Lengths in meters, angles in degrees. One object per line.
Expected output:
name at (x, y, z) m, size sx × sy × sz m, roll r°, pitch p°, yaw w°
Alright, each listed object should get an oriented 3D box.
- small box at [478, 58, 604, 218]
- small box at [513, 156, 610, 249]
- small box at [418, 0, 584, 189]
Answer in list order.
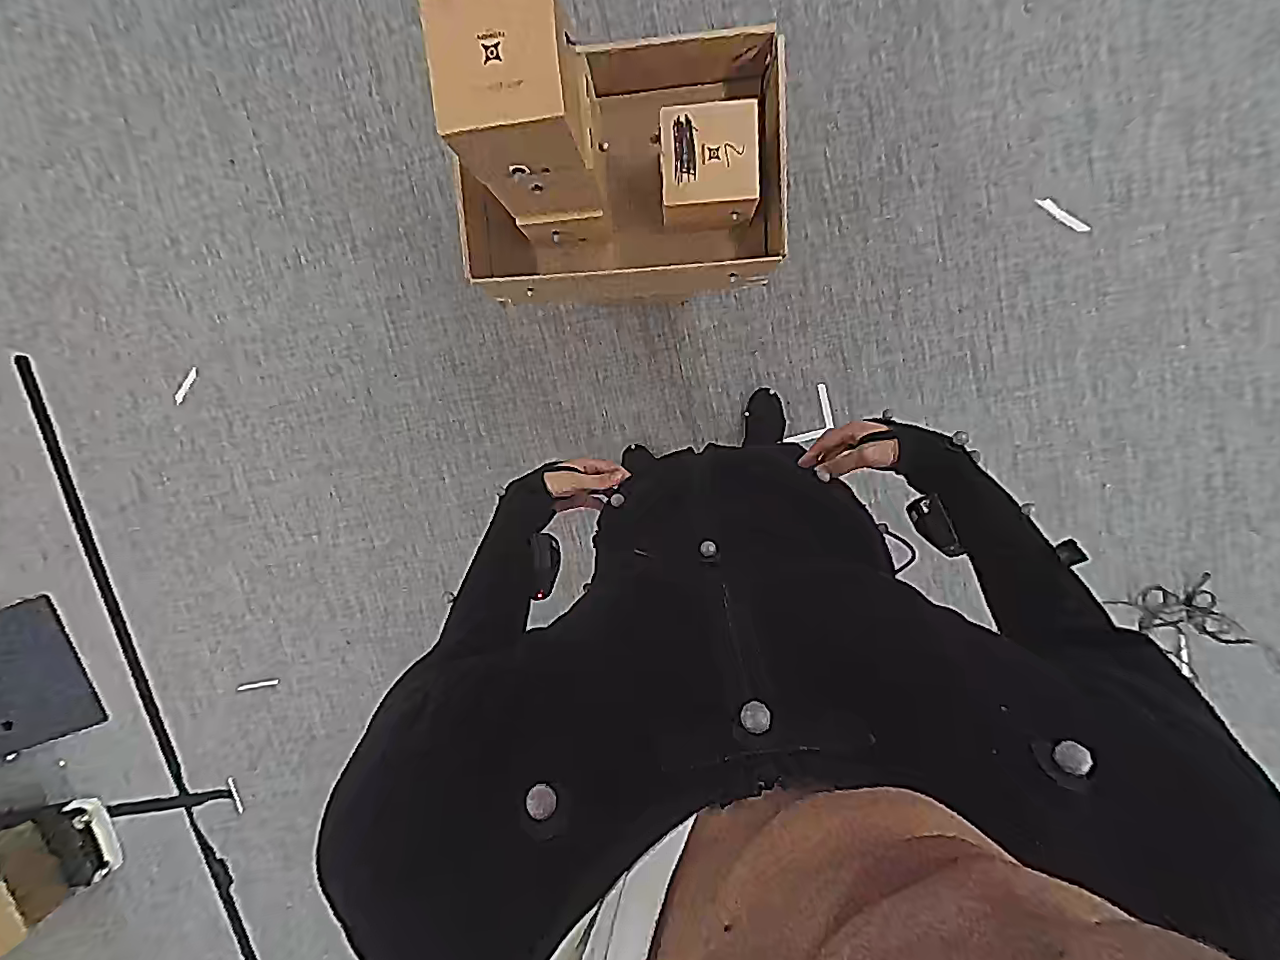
small box at (-0.160, -0.549, 0.891) m, size 0.179 × 0.176 × 0.168 m, roll -3°, pitch 98°, yaw 4°
small box at (-0.153, -0.563, 1.055) m, size 0.168 × 0.176 × 0.179 m, roll -4°, pitch 97°, yaw 4°
small box at (-0.175, -0.526, 0.730) m, size 0.168 × 0.176 × 0.179 m, roll -5°, pitch 97°, yaw 5°
